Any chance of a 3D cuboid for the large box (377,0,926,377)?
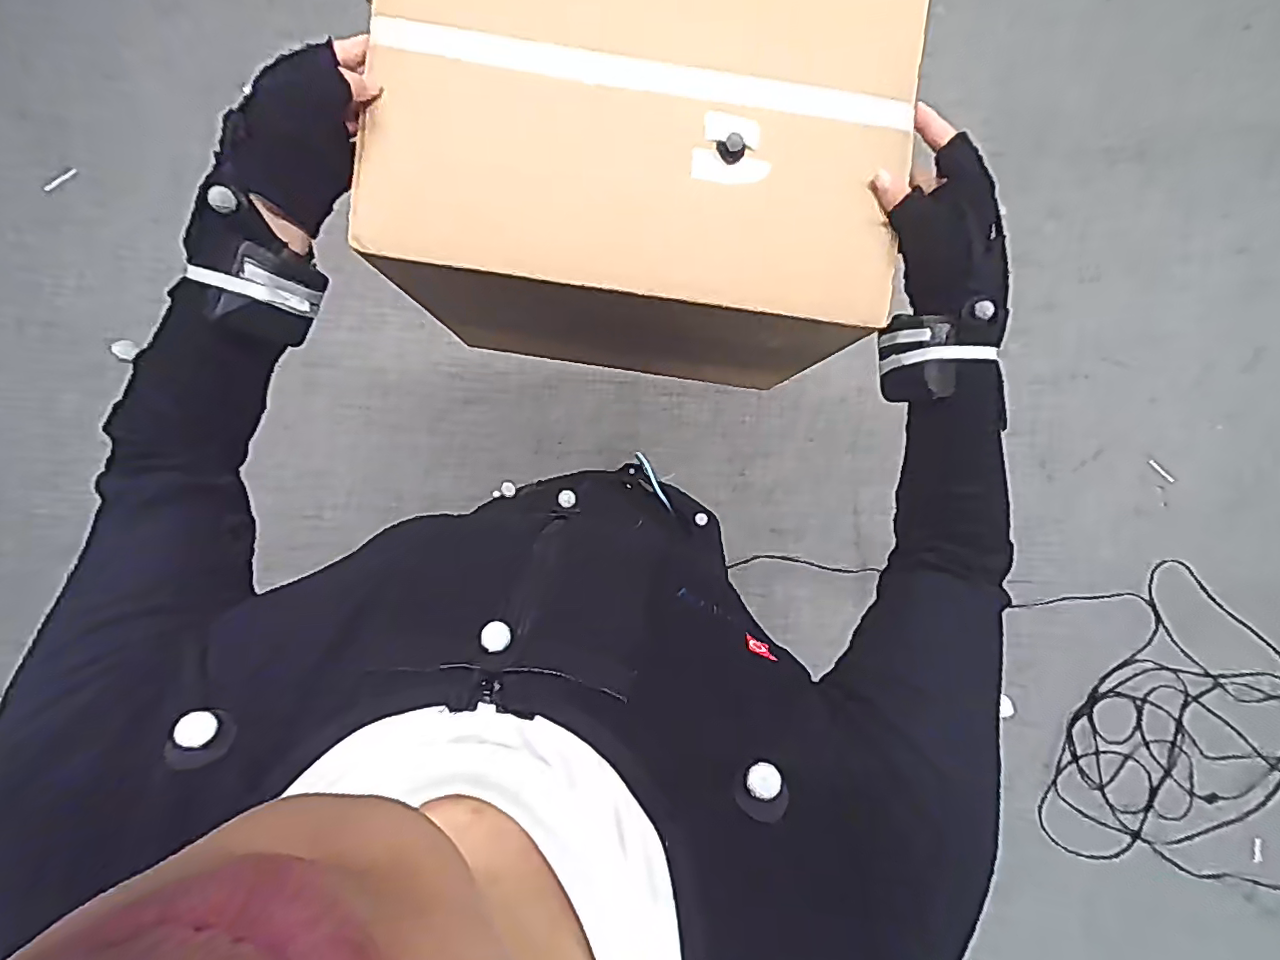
[{"bbox_3d":[0.006,-0.306,0.561,0.408,0.320,0.320,7,91,-3],"label":"large box"}]
